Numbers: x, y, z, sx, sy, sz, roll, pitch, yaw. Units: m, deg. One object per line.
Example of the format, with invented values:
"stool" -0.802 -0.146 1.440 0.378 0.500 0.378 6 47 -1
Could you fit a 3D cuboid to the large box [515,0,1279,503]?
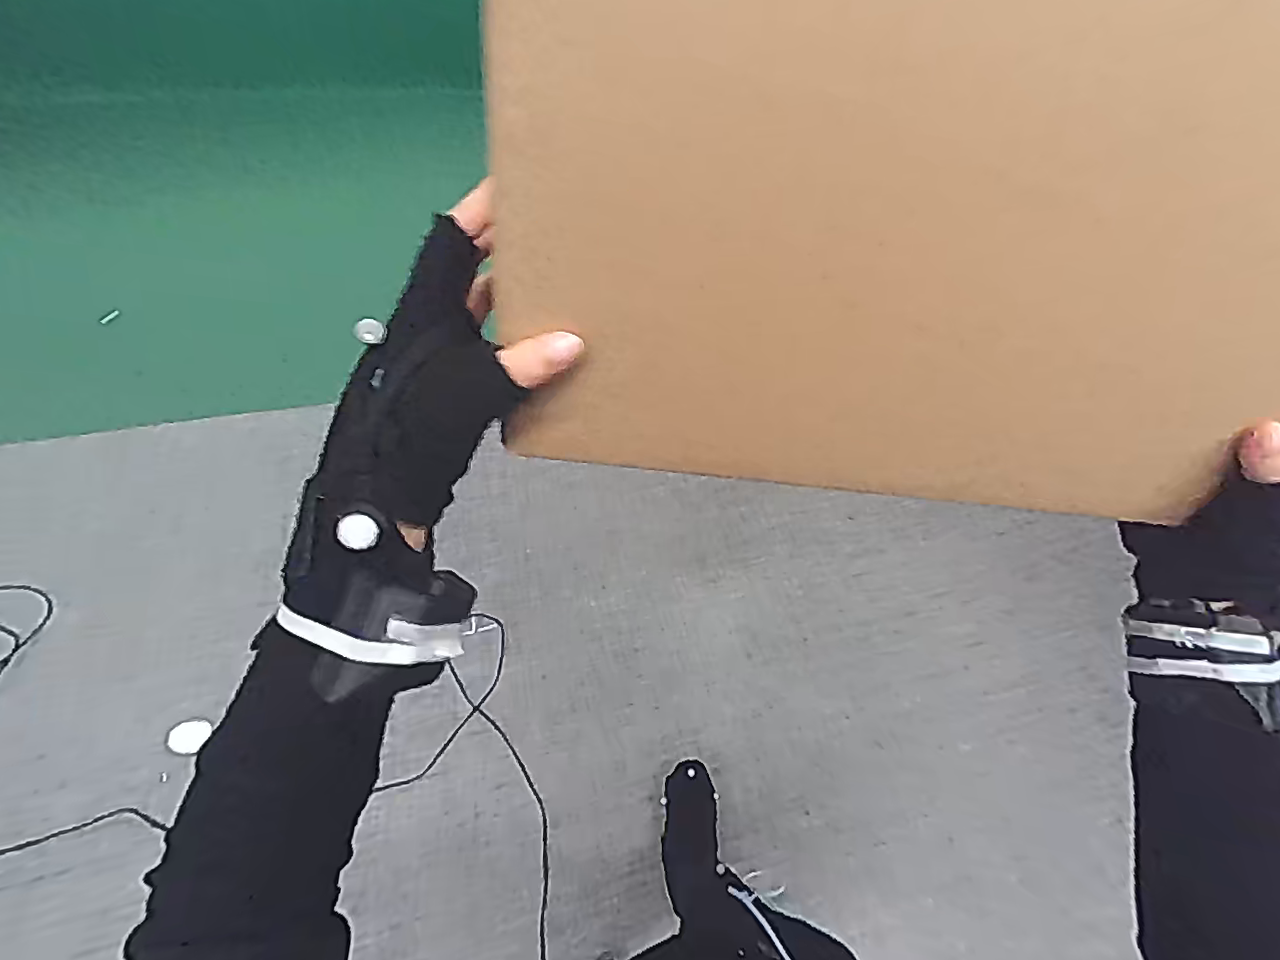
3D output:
"large box" 0.149 -0.210 0.310 0.408 0.320 0.320 6 45 -8
